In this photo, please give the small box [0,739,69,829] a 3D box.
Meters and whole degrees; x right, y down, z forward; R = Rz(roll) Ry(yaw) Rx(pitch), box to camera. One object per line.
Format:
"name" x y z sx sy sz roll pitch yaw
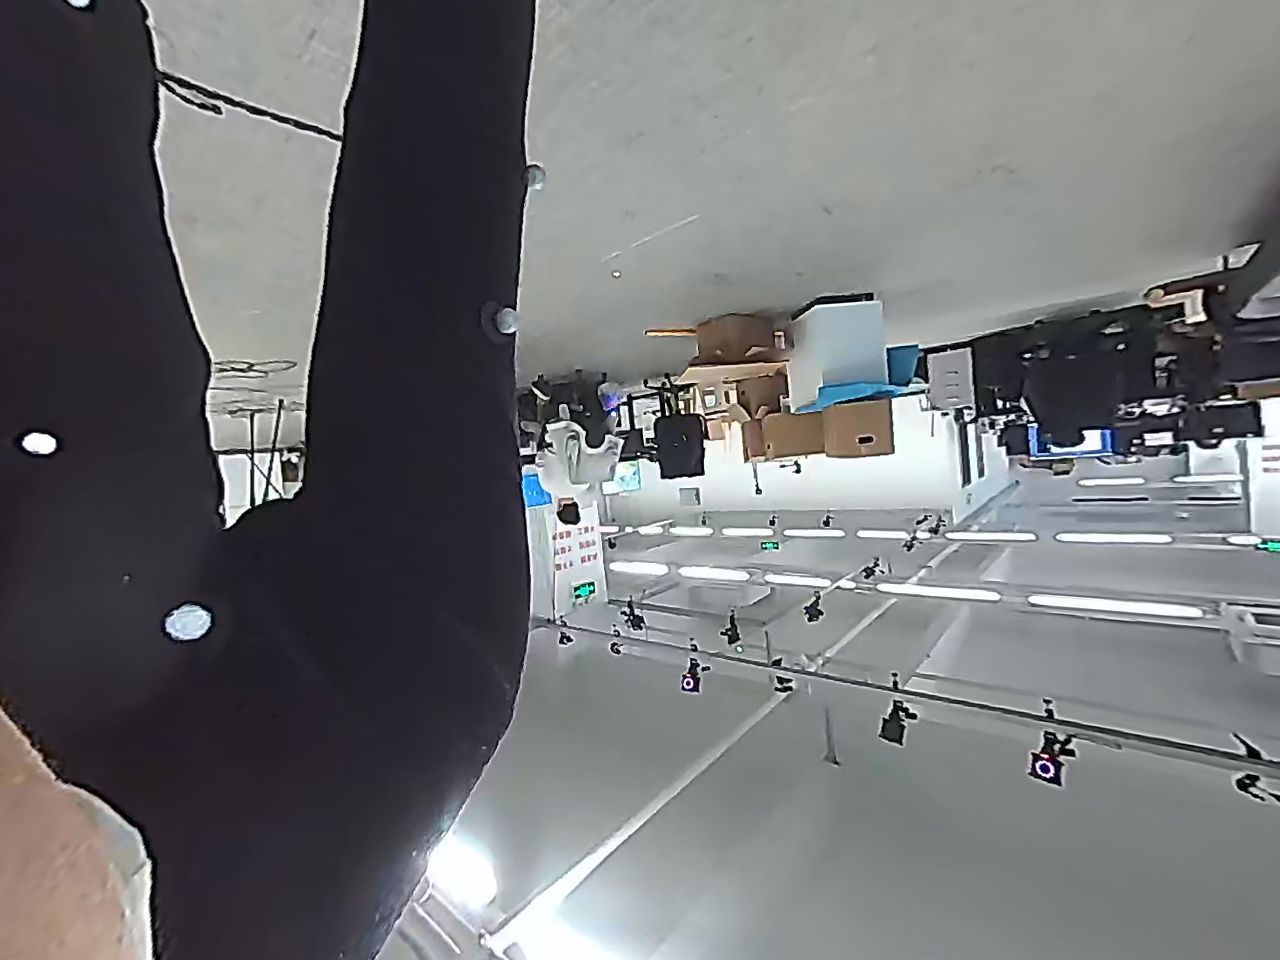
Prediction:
"small box" -1.811 0.882 1.577 0.179 0.176 0.168 -8 -176 -44
